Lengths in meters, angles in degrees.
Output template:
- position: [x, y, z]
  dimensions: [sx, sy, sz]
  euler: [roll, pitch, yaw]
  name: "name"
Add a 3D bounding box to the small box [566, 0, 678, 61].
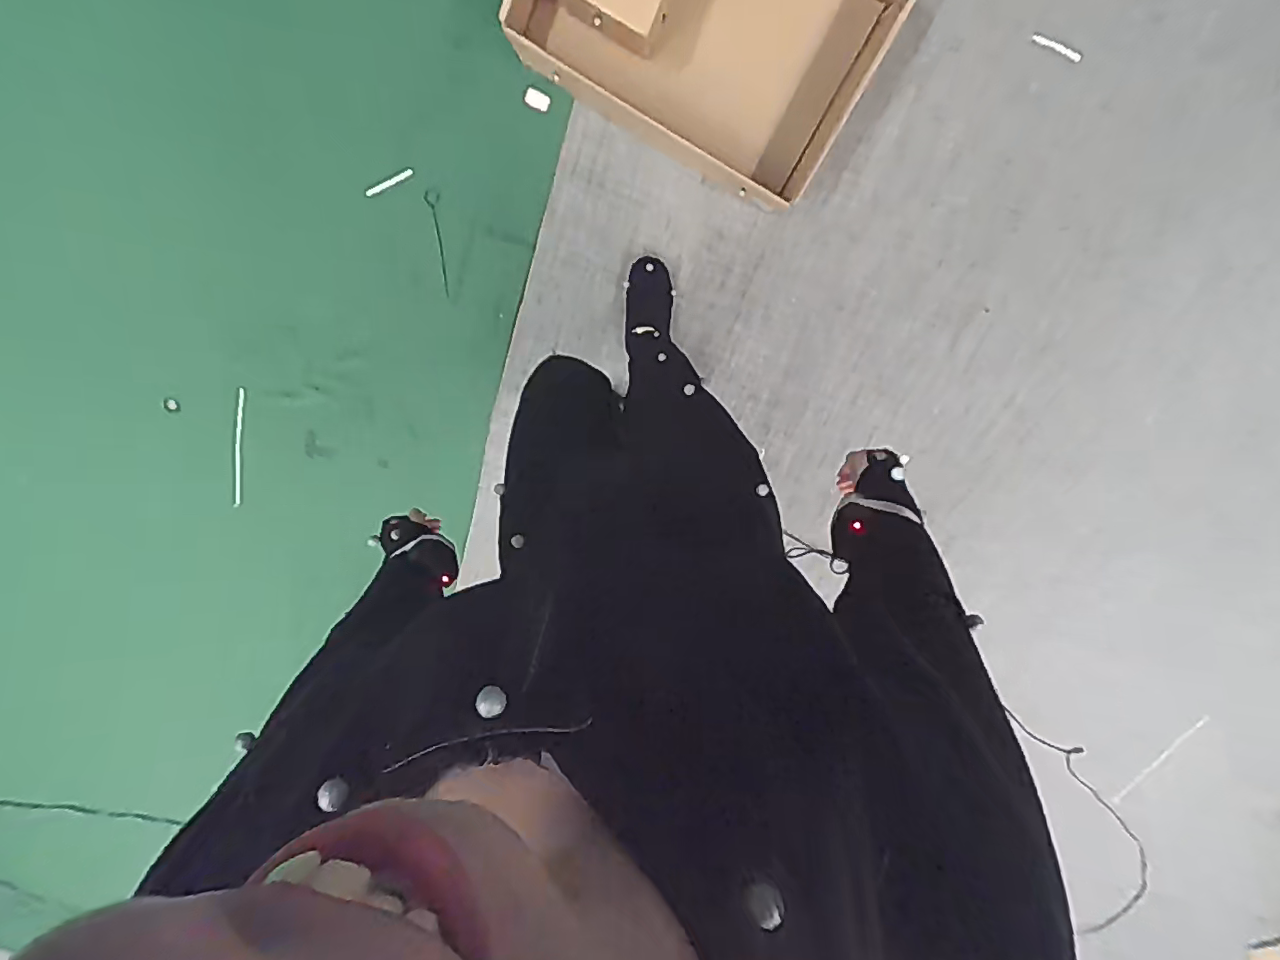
- position: [-0.025, -0.874, 0.939]
  dimensions: [0.179, 0.176, 0.168]
  euler: [25, 115, -11]
  name: "small box"
